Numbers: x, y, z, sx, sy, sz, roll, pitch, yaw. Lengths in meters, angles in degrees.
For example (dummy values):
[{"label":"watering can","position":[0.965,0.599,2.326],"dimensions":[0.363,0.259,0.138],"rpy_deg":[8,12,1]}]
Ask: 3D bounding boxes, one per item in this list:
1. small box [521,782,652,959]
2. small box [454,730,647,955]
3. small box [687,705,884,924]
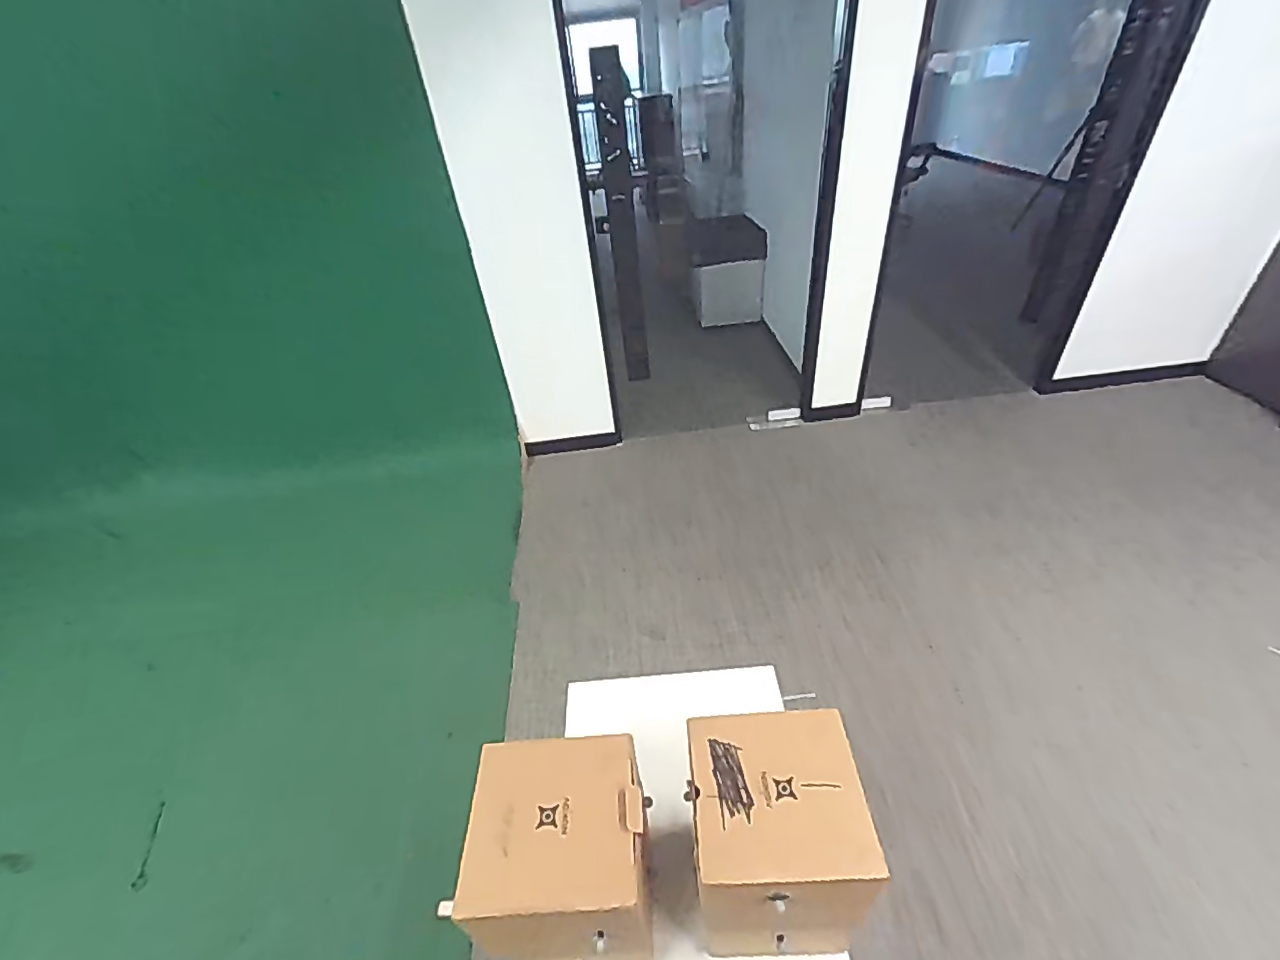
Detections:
[{"label":"small box","position":[-0.072,0.525,0.723],"dimensions":[0.168,0.176,0.179],"rpy_deg":[-3,38,1]},{"label":"small box","position":[-0.083,0.408,0.611],"dimensions":[0.179,0.176,0.168],"rpy_deg":[-6,37,1]},{"label":"small box","position":[0.150,0.378,0.611],"dimensions":[0.179,0.176,0.168],"rpy_deg":[-5,38,4]}]
